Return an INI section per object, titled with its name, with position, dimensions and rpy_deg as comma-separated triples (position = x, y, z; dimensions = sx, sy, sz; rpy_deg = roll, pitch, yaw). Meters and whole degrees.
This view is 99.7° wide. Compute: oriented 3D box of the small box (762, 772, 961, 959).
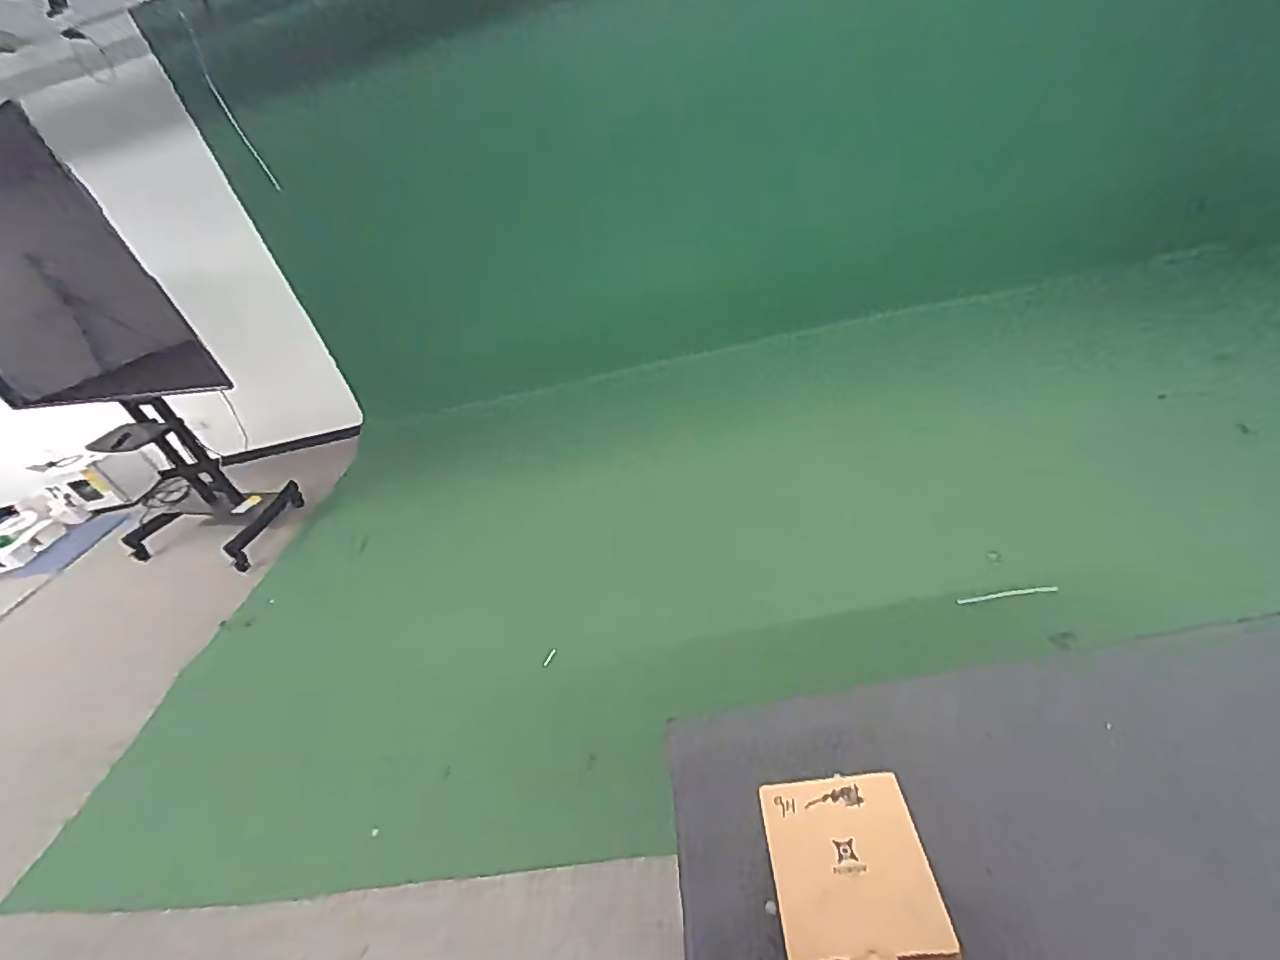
[small box]
position = 0.248, 0.480, 0.638
dimensions = 0.168, 0.176, 0.179
rpy_deg = -10, 35, 7
